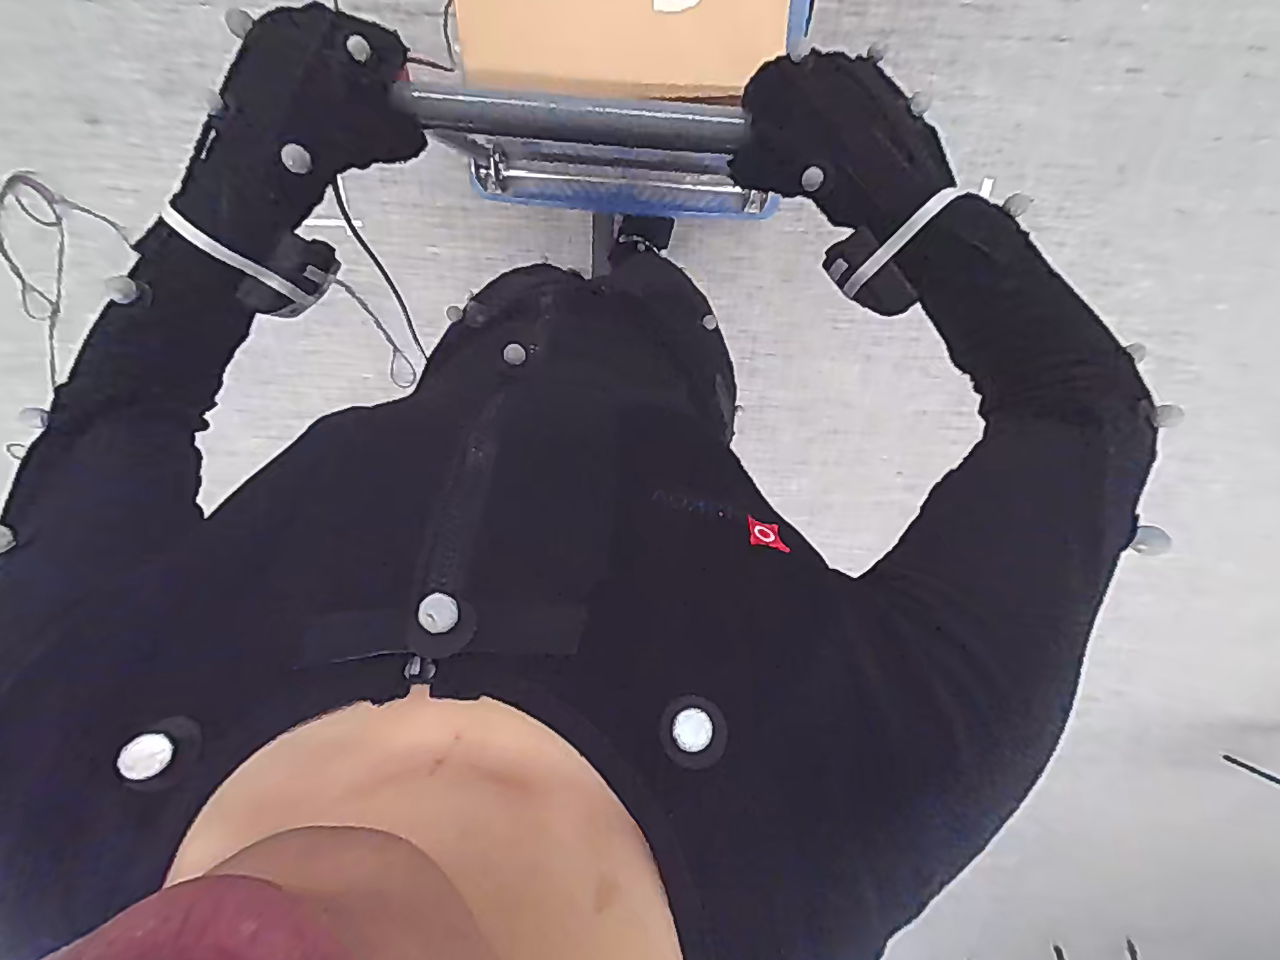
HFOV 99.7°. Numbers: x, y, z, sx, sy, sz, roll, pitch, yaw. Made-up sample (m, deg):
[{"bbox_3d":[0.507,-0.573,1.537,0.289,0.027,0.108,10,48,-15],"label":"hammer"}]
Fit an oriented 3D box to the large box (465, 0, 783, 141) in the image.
[{"bbox_3d":[-0.025,-0.703,0.784,0.408,0.320,0.320,-2,115,0],"label":"large box"}]
